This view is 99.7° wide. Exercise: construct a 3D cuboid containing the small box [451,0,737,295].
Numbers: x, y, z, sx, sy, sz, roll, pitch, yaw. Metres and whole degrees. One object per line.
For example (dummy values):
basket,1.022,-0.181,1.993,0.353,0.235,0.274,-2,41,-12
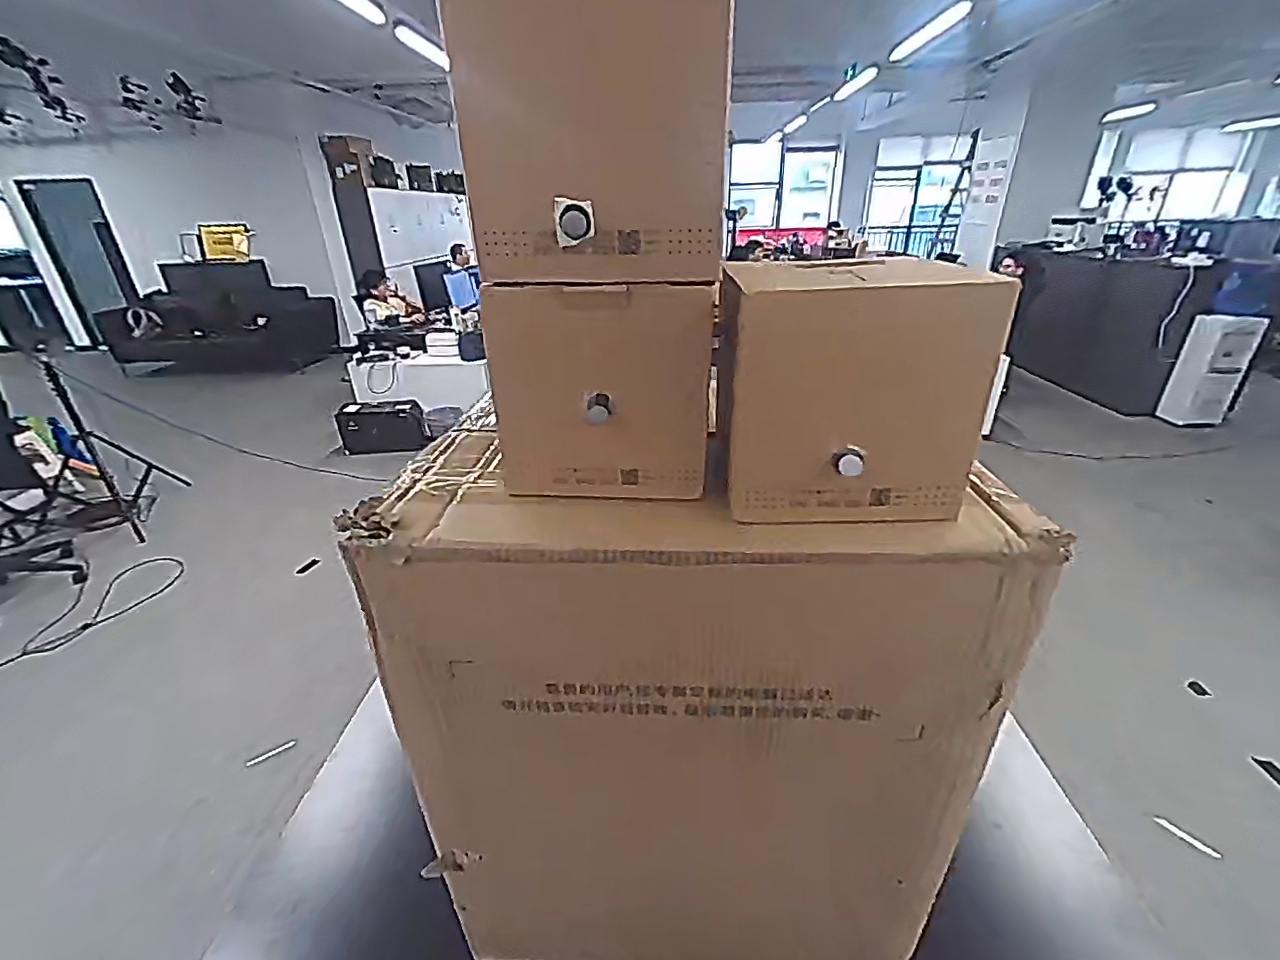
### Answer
small box,-0.022,-0.241,0.408,0.168,0.176,0.179,0,28,4
